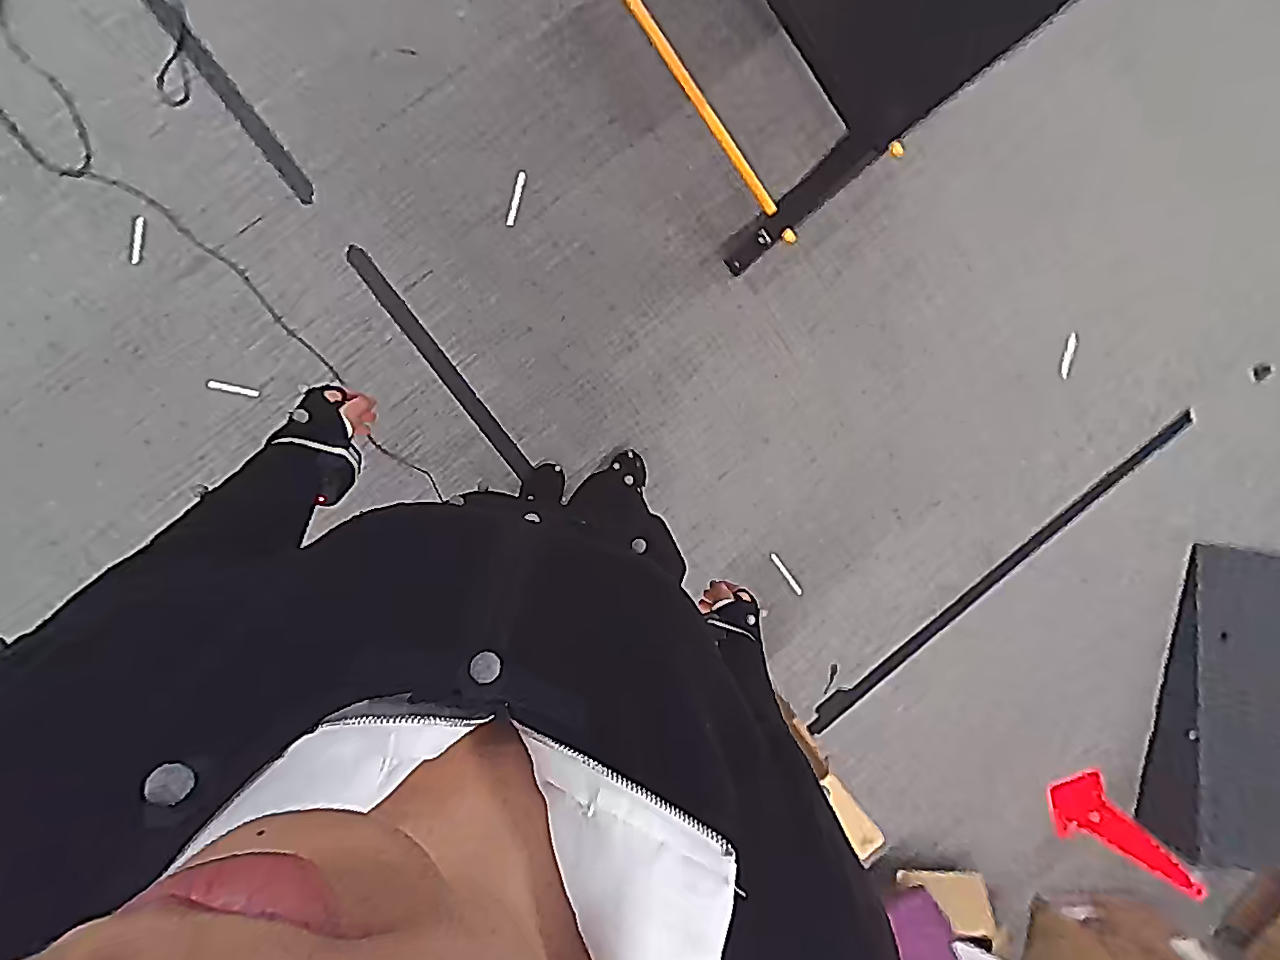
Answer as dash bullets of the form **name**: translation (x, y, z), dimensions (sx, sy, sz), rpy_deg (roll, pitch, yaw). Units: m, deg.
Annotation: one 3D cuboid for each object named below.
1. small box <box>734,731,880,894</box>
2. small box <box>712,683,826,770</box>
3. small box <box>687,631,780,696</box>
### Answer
- **small box**: translation (0.307, 0.616, 1.034), dimensions (0.168, 0.176, 0.179), rpy_deg (-38, 99, -3)
- **small box**: translation (0.285, 0.589, 1.195), dimensions (0.168, 0.176, 0.179), rpy_deg (-35, 98, -3)
- **small box**: translation (0.256, 0.557, 1.519), dimensions (0.179, 0.176, 0.168), rpy_deg (-34, 99, -2)
